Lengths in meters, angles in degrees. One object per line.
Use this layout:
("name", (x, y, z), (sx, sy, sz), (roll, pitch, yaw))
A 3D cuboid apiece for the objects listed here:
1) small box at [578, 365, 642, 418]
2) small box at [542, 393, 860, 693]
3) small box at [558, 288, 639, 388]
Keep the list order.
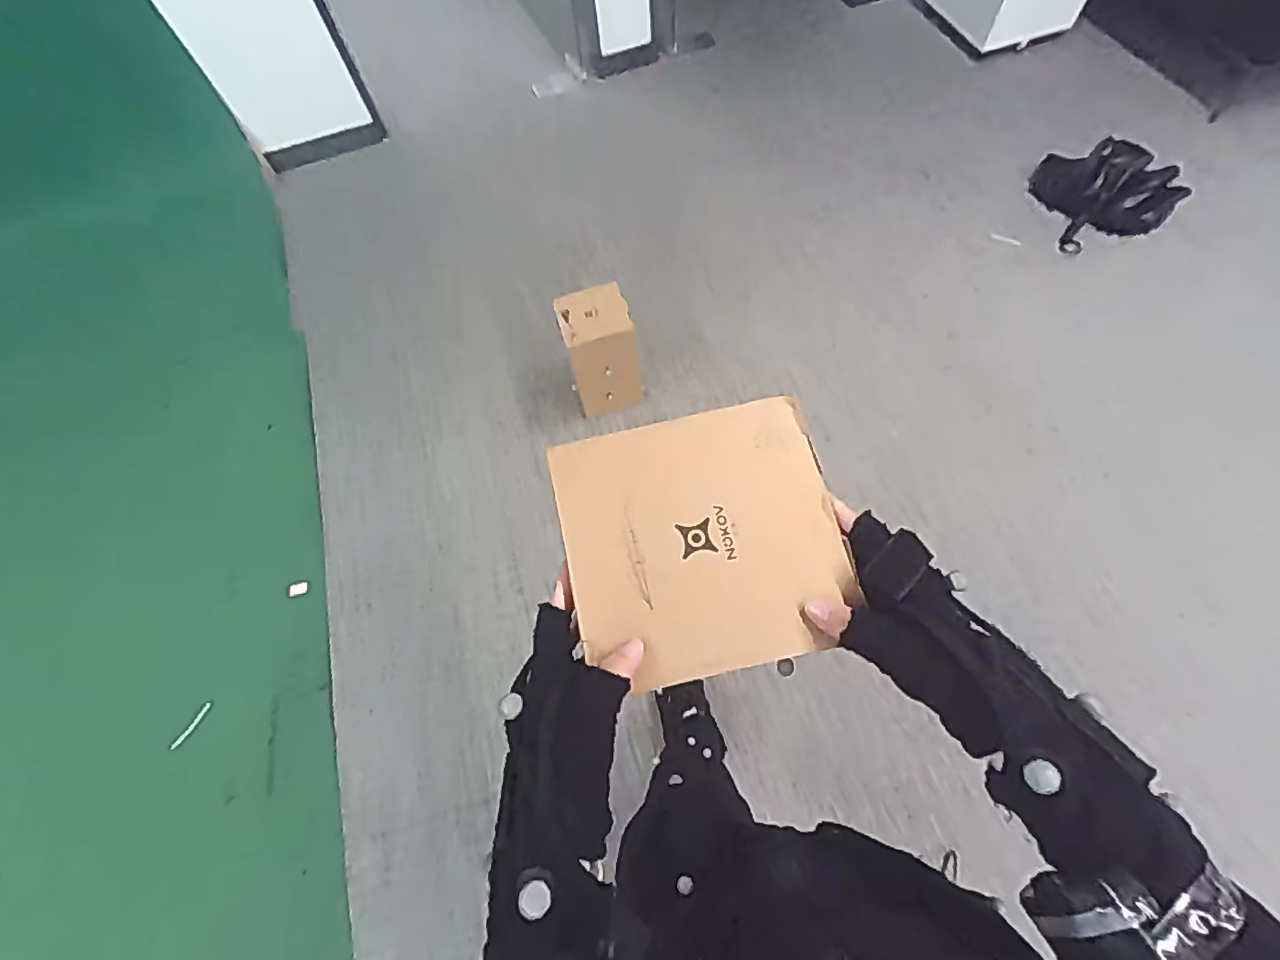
("small box", (-0.093, -0.303, 1.570), (0.179, 0.176, 0.168), (-14, 62, -1))
("small box", (0.038, 0.057, 0.426), (0.179, 0.176, 0.168), (-14, 72, -1))
("small box", (-0.104, -0.369, 1.423), (0.179, 0.176, 0.168), (-16, 64, -3))
